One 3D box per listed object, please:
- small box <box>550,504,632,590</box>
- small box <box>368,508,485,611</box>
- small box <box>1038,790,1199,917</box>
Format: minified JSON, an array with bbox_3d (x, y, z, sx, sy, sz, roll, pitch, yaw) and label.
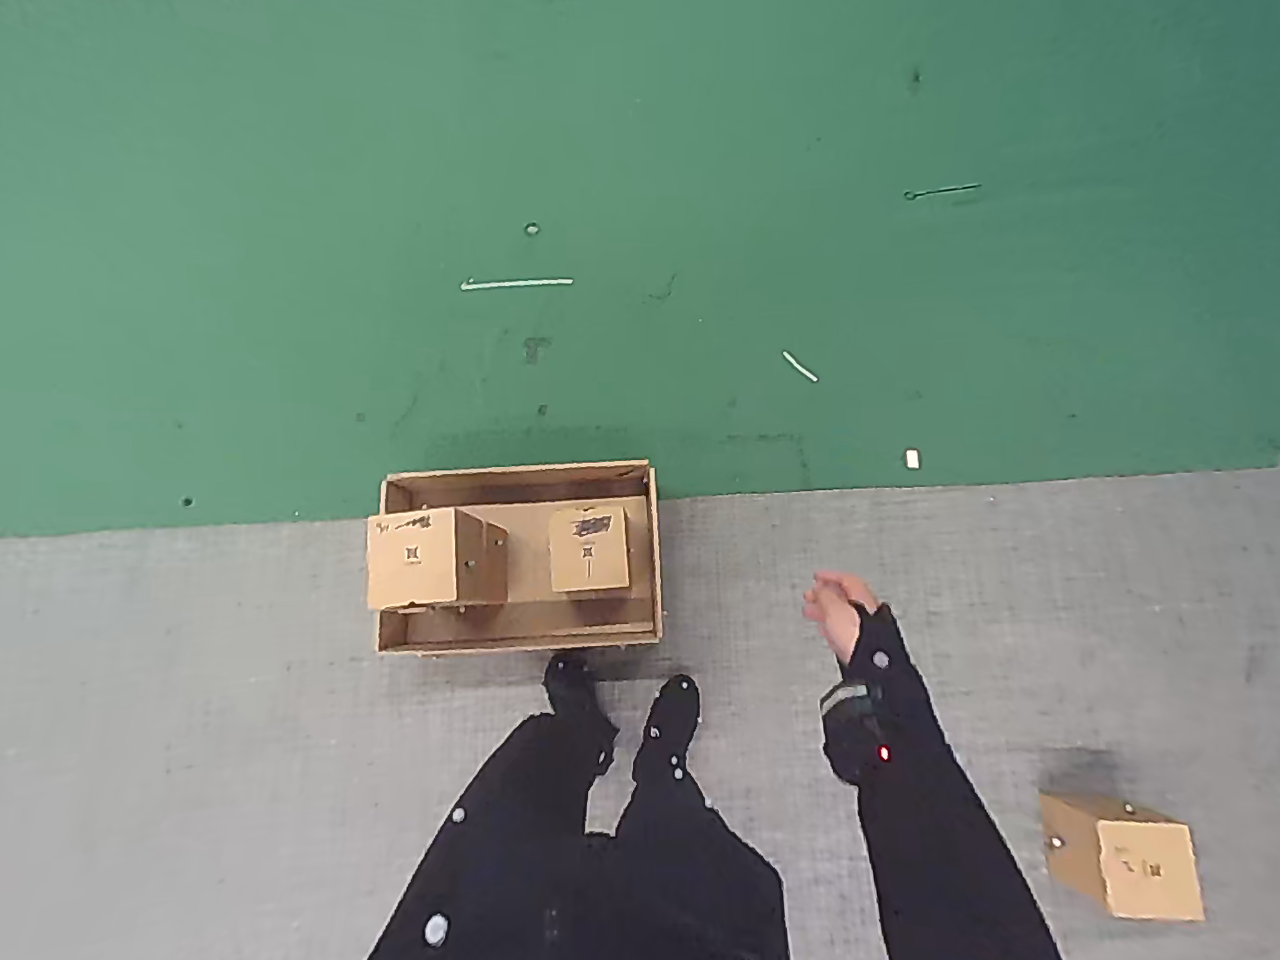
[{"bbox_3d":[-0.106,0.156,1.221,0.168,0.176,0.179,-5,79,1],"label":"small box"},{"bbox_3d":[-0.411,0.157,1.061,0.168,0.176,0.179,-6,79,0],"label":"small box"},{"bbox_3d":[0.971,0.756,1.113,0.179,0.176,0.168,2,77,2],"label":"small box"}]
